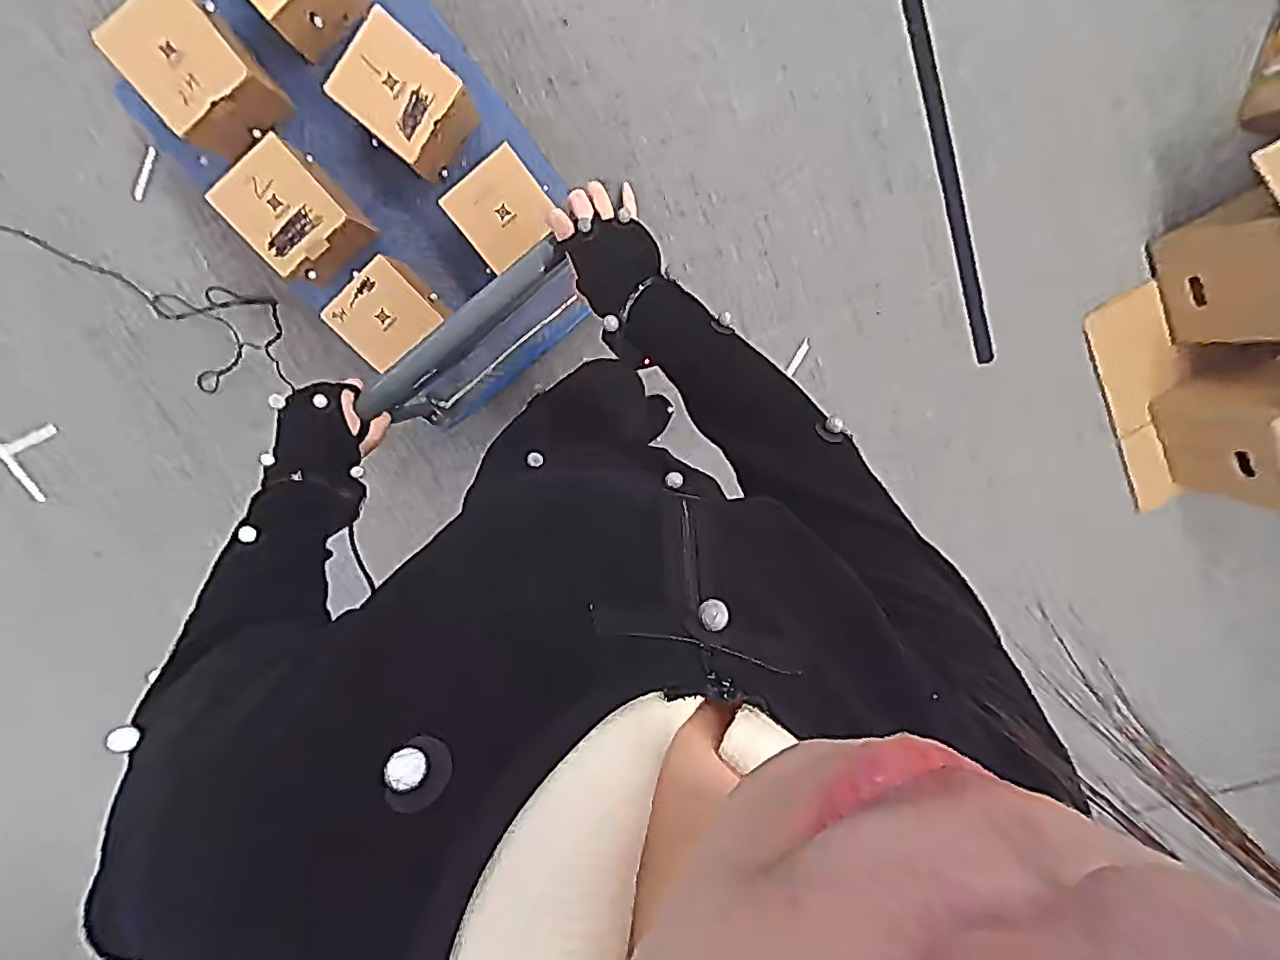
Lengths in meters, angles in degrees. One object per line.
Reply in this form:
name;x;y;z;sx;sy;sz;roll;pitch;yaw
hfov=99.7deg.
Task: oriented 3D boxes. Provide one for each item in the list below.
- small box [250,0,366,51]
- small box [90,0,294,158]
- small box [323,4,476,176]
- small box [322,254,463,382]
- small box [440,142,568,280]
small box;-0.608;-0.884;0.920;0.168;0.176;0.179;-42;106;6
small box;-0.765;-0.711;0.948;0.168;0.176;0.179;-37;107;4
small box;-0.427;-0.694;0.996;0.179;0.176;0.168;37;98;-14
small box;-0.485;-0.324;1.092;0.168;0.176;0.179;-42;106;5
small box;-0.256;-0.515;1.069;0.168;0.176;0.179;-39;106;4
